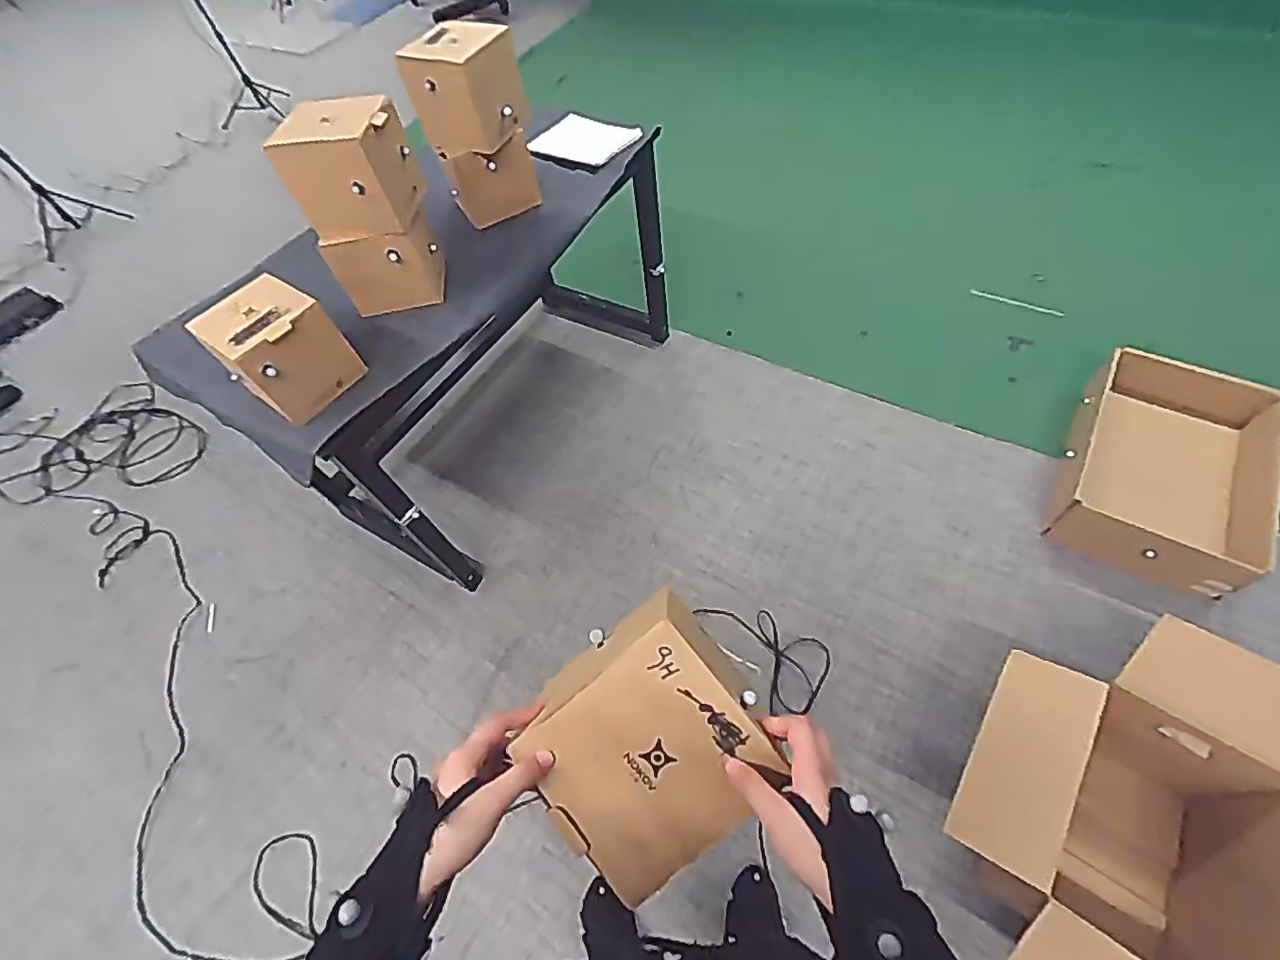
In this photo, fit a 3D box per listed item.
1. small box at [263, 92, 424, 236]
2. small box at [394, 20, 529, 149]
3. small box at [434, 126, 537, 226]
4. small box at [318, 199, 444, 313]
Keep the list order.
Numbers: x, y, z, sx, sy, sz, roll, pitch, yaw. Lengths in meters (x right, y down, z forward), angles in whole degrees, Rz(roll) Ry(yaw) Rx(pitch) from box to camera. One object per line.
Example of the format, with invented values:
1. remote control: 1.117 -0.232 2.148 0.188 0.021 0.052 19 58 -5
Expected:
1. small box: -0.524 -0.571 0.989 0.179 0.176 0.168 -1 56 7
2. small box: -0.361 -0.820 1.126 0.179 0.176 0.168 20 63 18
3. small box: -0.358 -0.737 1.269 0.179 0.176 0.168 -29 59 -10
4. small box: -0.523 -0.474 1.120 0.179 0.176 0.168 -11 56 0
